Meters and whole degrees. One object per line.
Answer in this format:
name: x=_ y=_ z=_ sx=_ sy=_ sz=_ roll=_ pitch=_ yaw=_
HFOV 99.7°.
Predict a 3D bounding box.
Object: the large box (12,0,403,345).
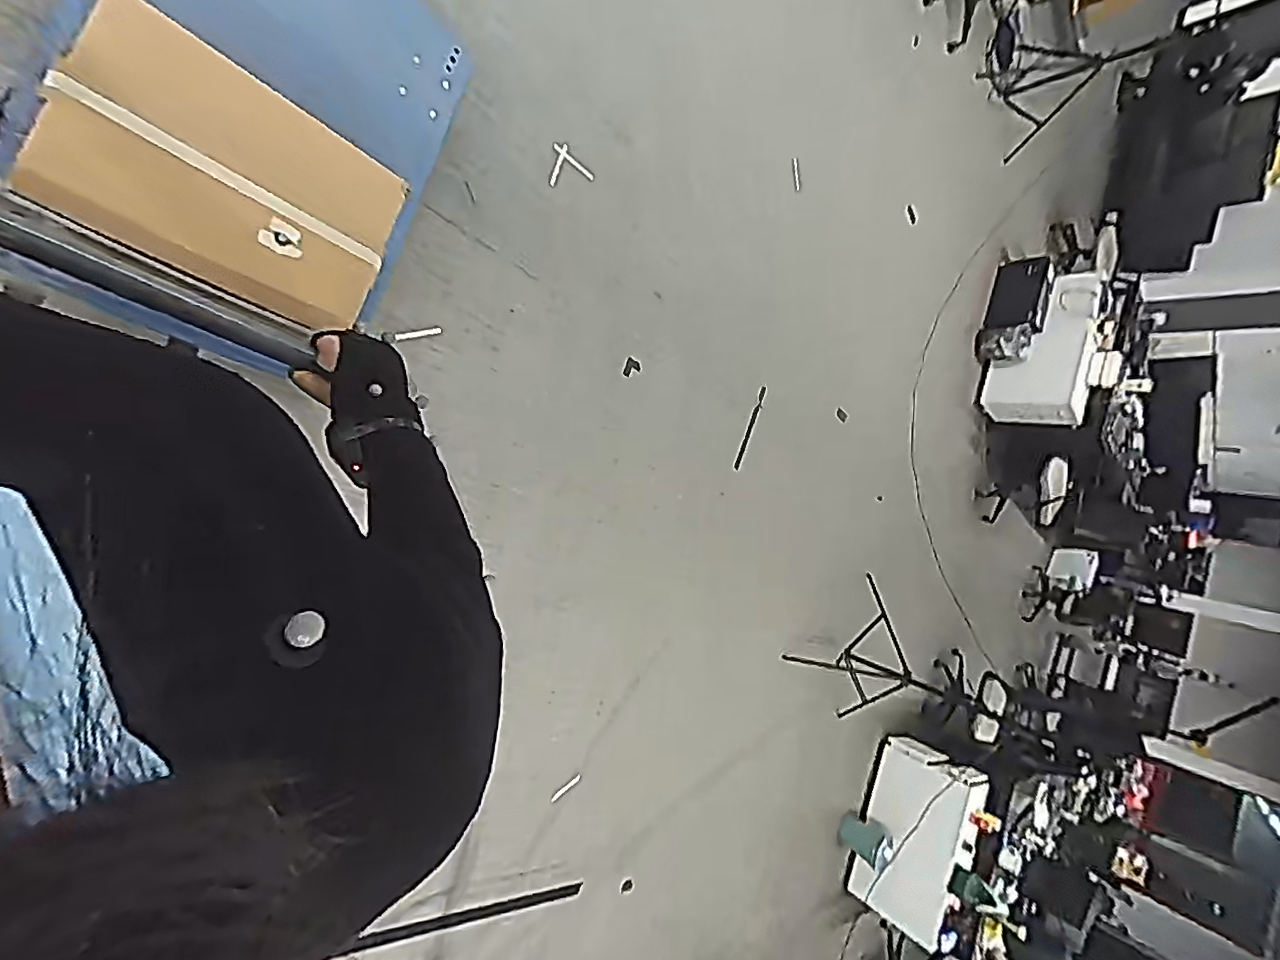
large box: x=-0.705 y=-0.467 z=0.928 sx=0.408 sy=0.320 sz=0.320 roll=24 pitch=82 yaw=-42
